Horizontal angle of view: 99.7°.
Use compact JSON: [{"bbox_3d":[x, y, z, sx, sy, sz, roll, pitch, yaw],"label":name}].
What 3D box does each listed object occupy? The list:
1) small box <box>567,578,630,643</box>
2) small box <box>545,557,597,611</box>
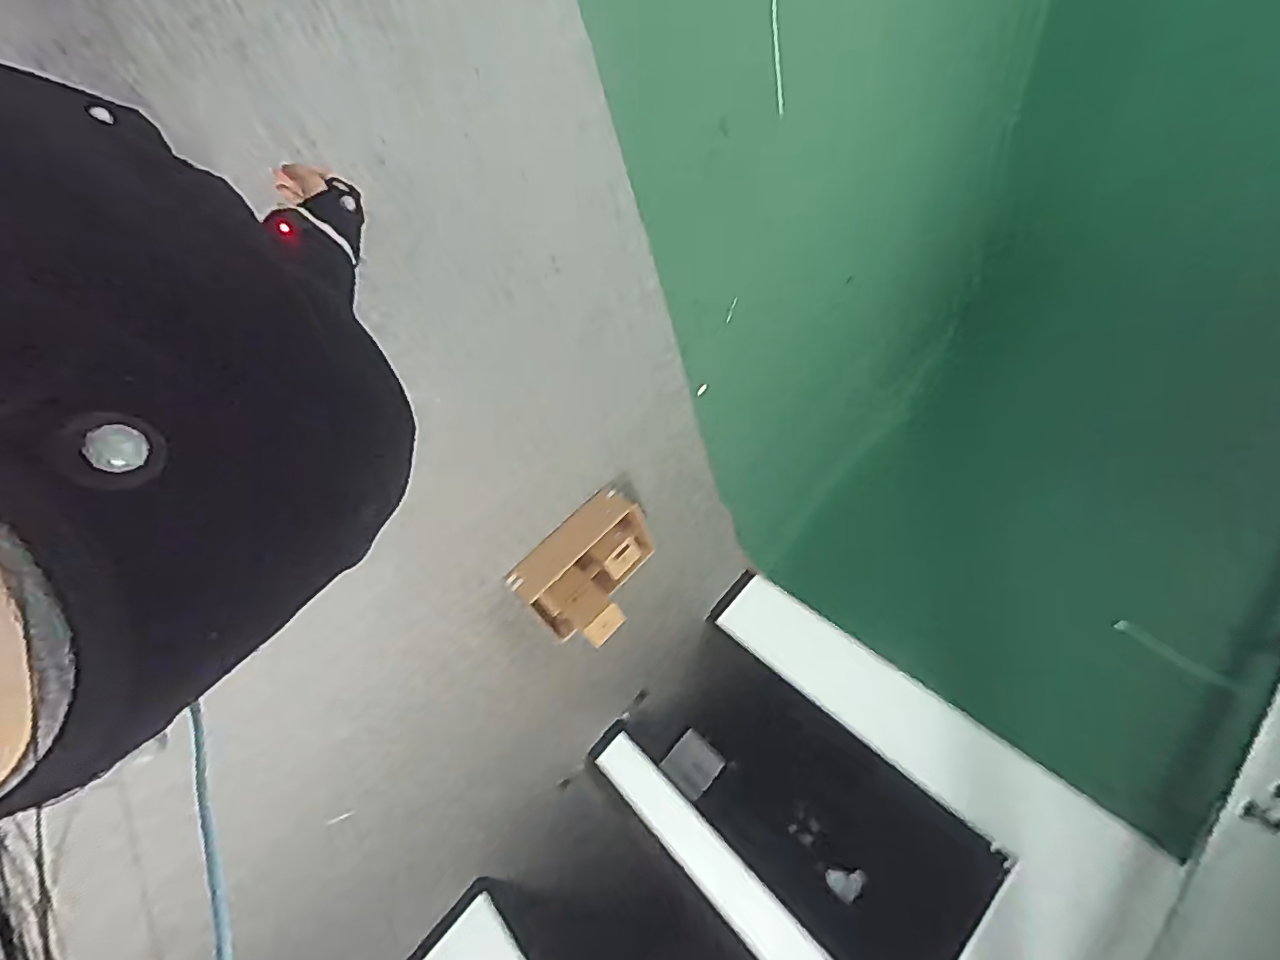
[{"bbox_3d":[-0.175,0.536,2.250,0.168,0.176,0.179,-43,142,-17],"label":"small box"},{"bbox_3d":[-0.281,0.465,2.351,0.168,0.176,0.179,-45,141,-18],"label":"small box"}]
